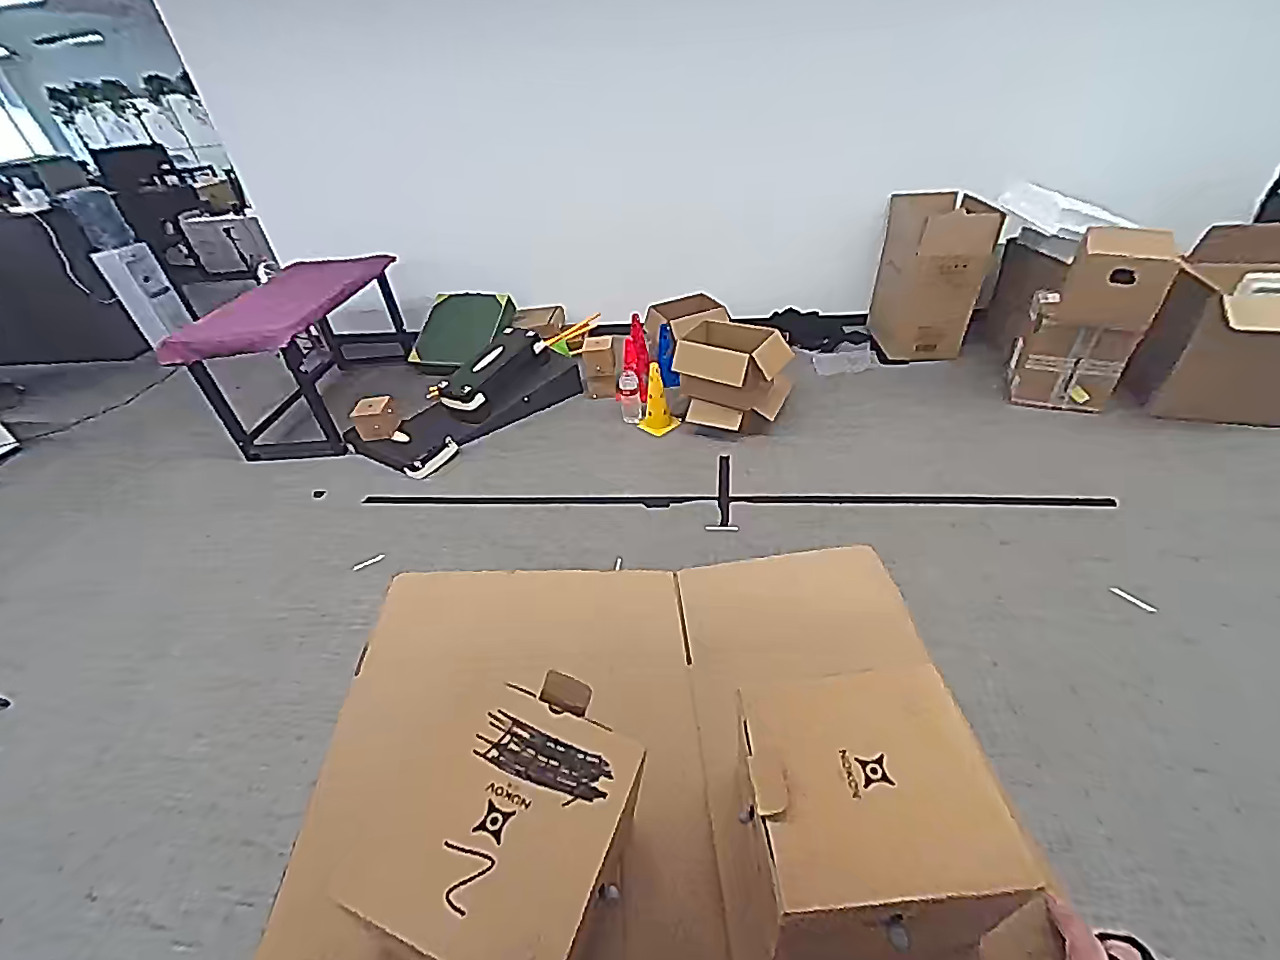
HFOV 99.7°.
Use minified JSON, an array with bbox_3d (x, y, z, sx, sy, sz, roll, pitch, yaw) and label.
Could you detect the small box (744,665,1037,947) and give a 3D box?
[{"bbox_3d":[0.194,0.291,0.484,0.179,0.176,0.168,-9,40,3],"label":"small box"}]
